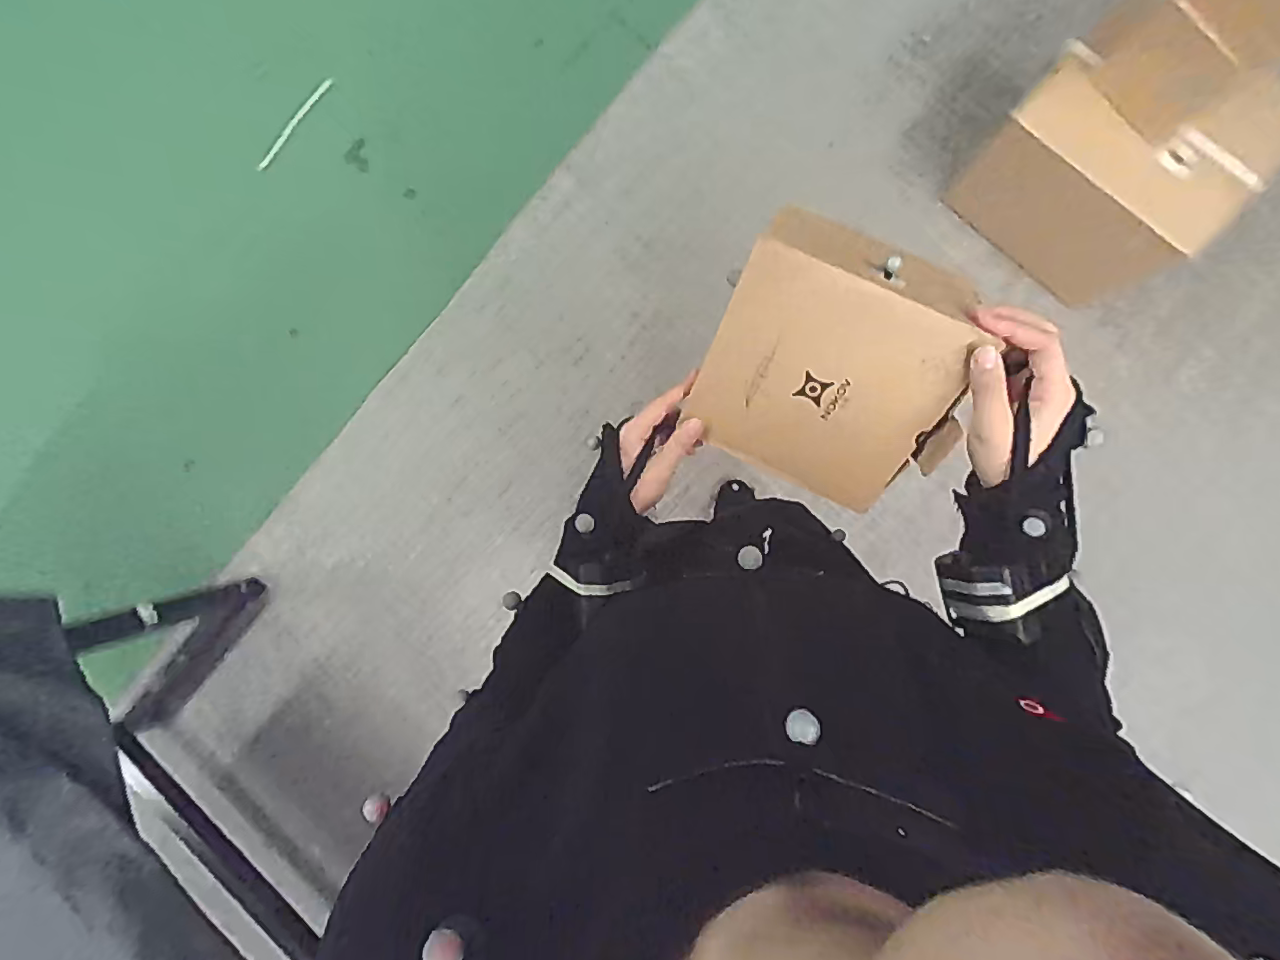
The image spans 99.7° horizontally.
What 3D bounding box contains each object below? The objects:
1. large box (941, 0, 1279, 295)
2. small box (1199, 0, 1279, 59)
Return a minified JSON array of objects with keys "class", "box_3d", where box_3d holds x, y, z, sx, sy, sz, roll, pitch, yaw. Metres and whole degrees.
[{"class":"large box","box_3d":[0.929,-0.657,1.096,0.408,0.320,0.320,41,97,3]},{"class":"small box","box_3d":[0.880,-0.707,0.690,0.168,0.176,0.179,-37,88,6]}]
